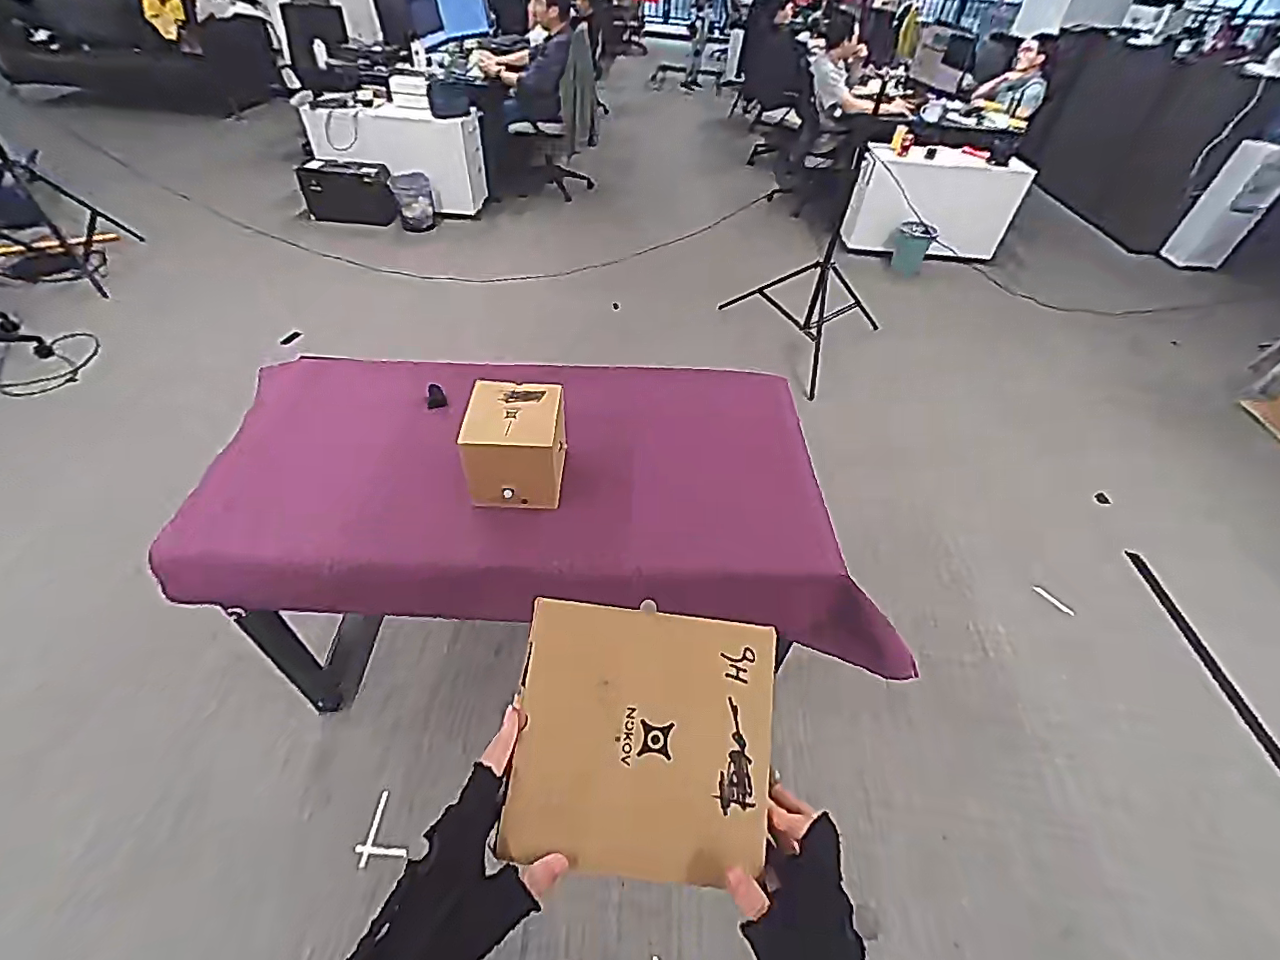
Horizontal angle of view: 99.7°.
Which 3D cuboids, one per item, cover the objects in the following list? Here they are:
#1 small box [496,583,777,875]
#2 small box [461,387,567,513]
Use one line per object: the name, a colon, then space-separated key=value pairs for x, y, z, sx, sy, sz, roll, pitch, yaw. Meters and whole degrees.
small box: x=0.002 y=0.187 z=0.445 sx=0.179 sy=0.176 sz=0.168 roll=7 pitch=73 yaw=1
small box: x=-0.232 y=-0.059 z=1.045 sx=0.168 sy=0.176 sz=0.179 roll=2 pitch=46 yaw=-3
